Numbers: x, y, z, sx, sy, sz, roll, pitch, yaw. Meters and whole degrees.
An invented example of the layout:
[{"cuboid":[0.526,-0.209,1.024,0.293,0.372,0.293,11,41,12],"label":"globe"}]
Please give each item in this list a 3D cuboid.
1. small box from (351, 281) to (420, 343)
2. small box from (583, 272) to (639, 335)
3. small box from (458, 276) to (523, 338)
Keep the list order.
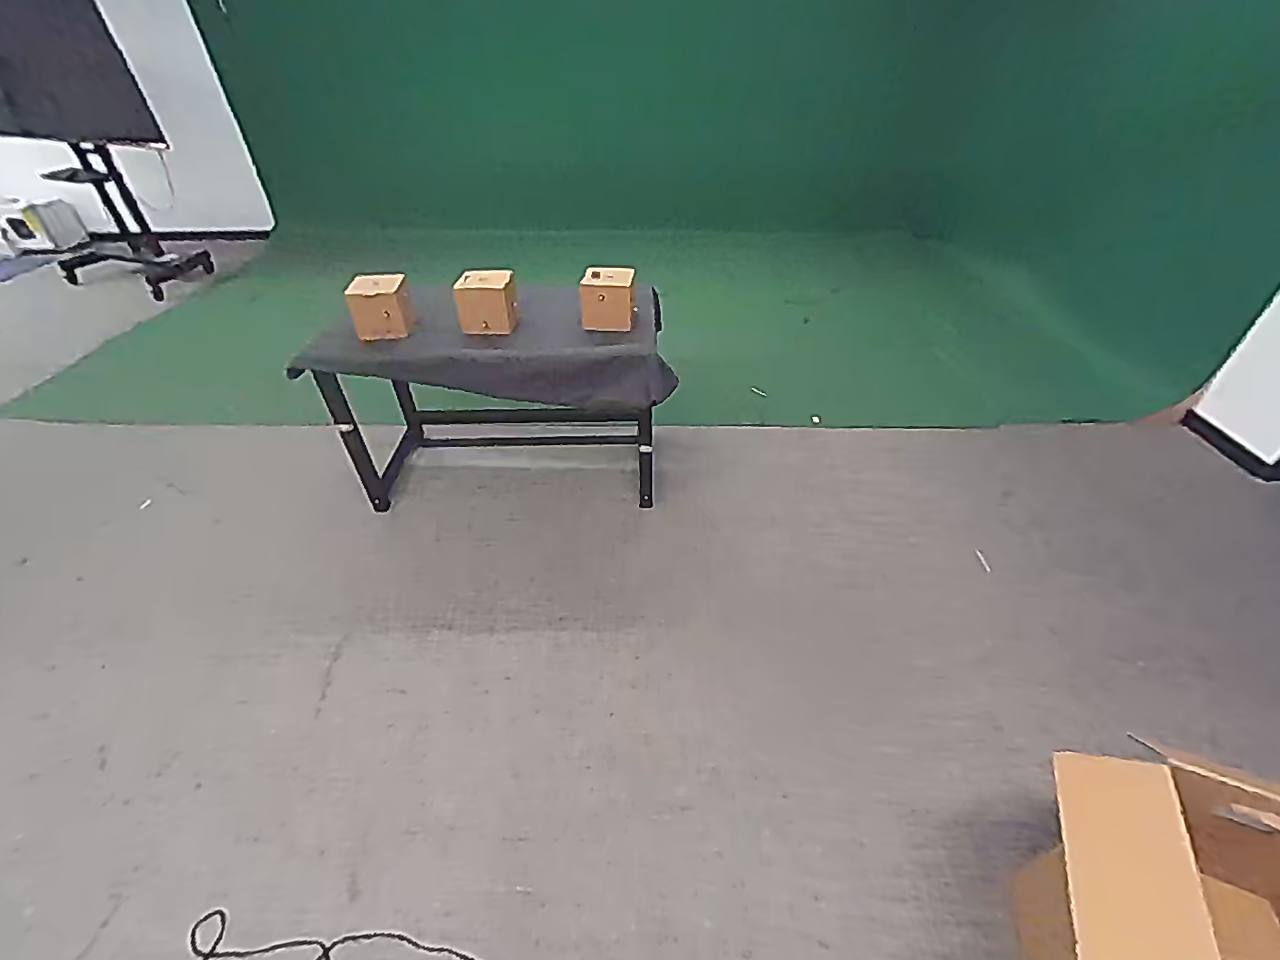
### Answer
[{"cuboid":[-0.900,-0.598,1.930,0.168,0.176,0.179,-4,38,-7],"label":"small box"},{"cuboid":[-0.100,-0.638,1.953,0.179,0.176,0.168,4,41,6],"label":"small box"},{"cuboid":[-0.532,-0.622,1.950,0.179,0.176,0.168,2,40,2],"label":"small box"}]
